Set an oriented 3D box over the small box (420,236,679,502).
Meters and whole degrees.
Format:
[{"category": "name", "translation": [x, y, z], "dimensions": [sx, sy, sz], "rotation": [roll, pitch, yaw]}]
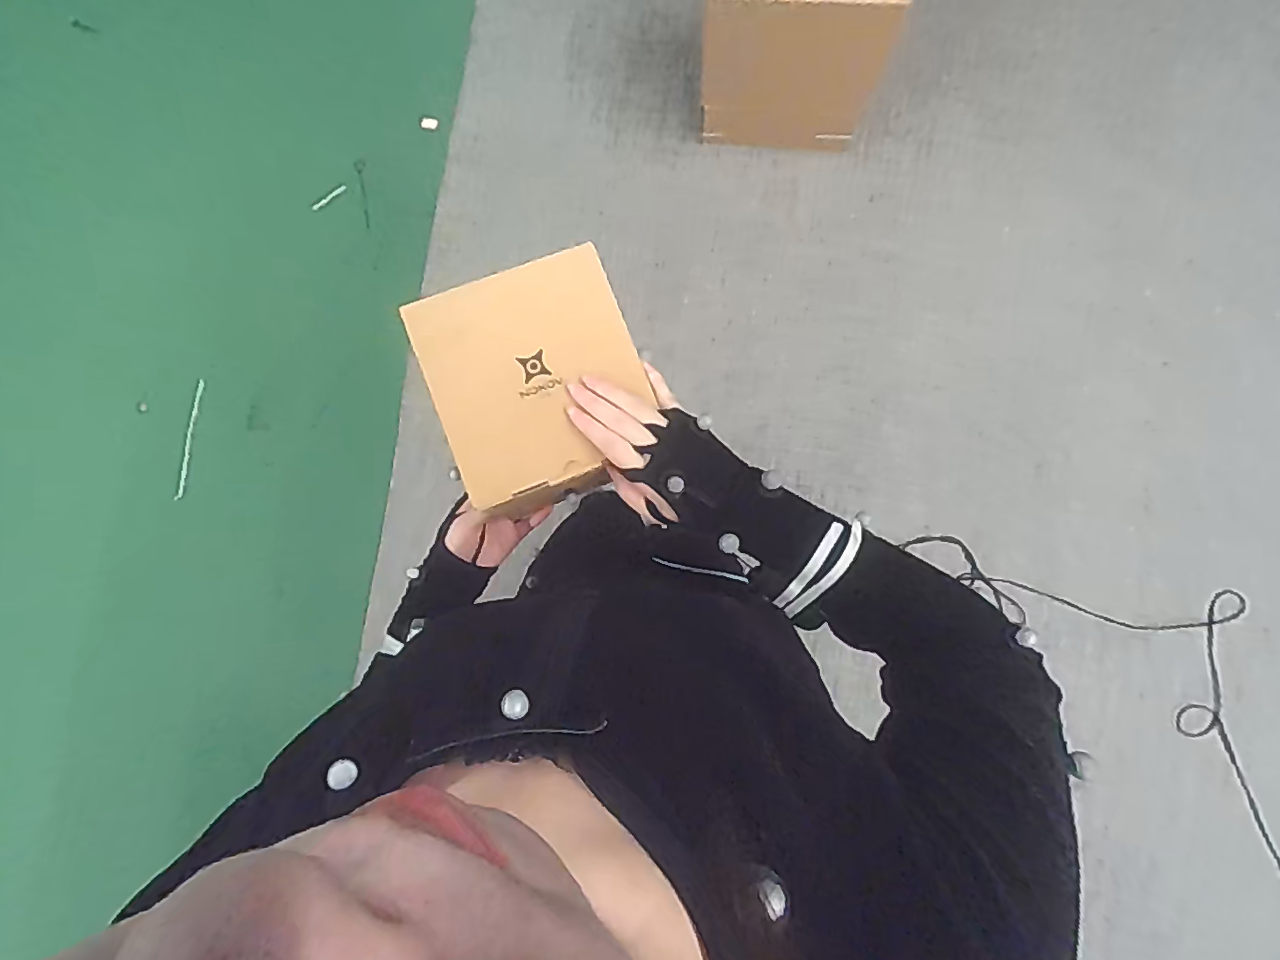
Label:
[{"category": "small box", "translation": [-0.080, -0.088, 0.514], "dimensions": [0.168, 0.176, 0.179], "rotation": [-21, 87, -6]}]
